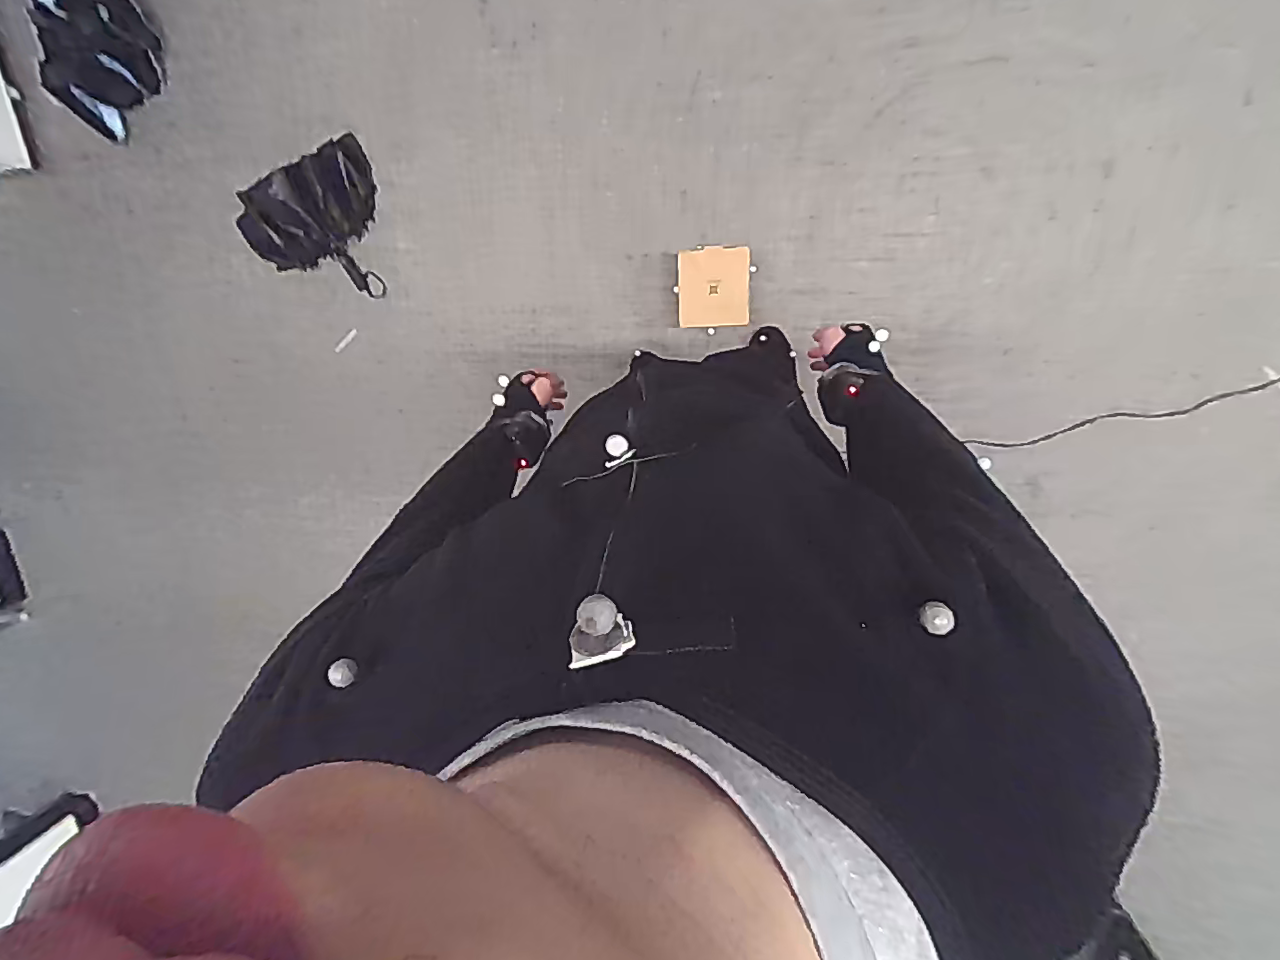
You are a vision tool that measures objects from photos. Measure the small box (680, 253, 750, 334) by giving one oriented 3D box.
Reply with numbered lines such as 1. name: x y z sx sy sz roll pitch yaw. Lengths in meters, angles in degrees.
1. small box: 0.188 -0.458 1.348 0.168 0.176 0.179 0 106 11
